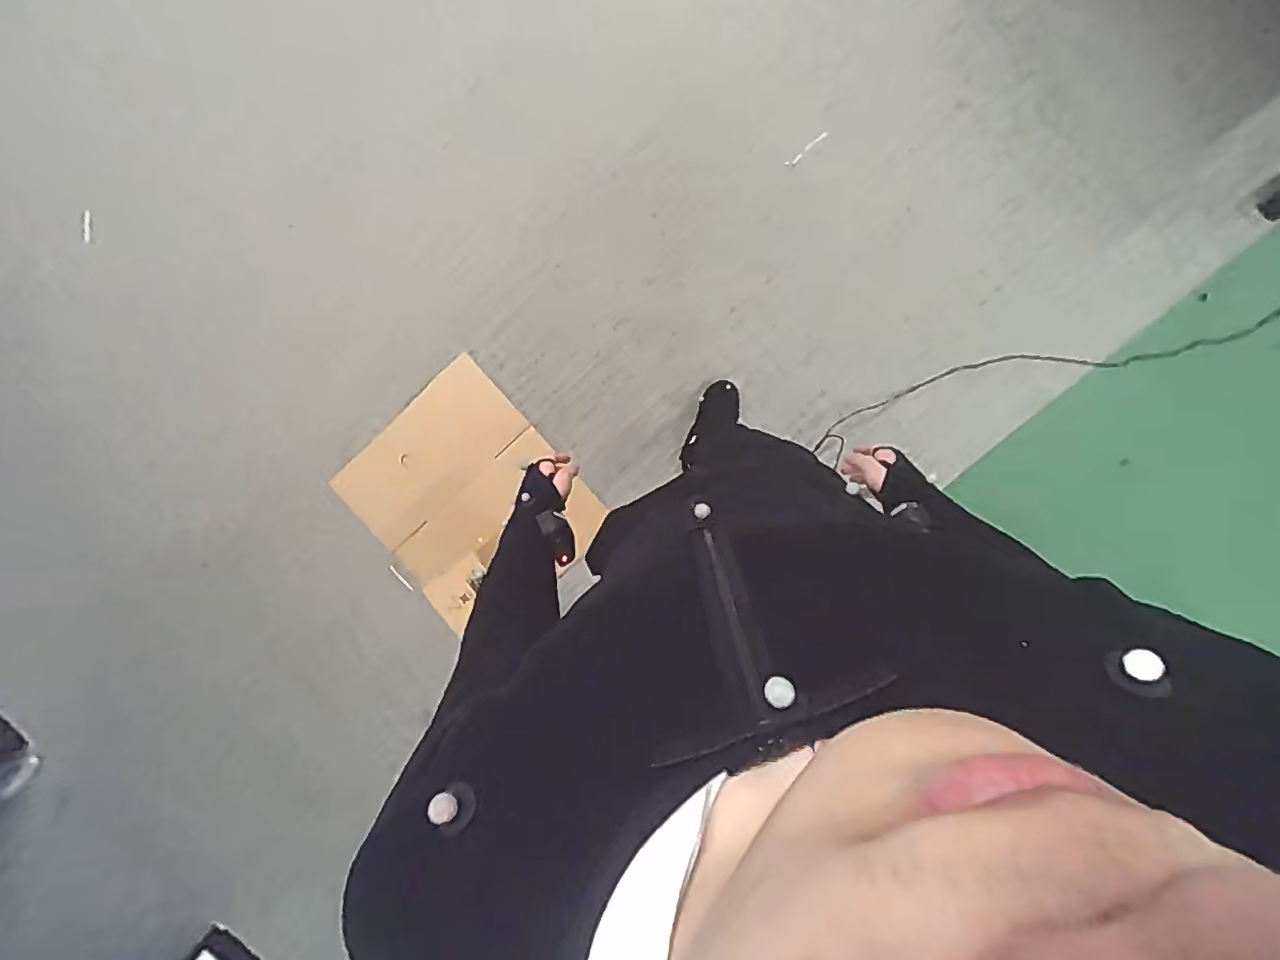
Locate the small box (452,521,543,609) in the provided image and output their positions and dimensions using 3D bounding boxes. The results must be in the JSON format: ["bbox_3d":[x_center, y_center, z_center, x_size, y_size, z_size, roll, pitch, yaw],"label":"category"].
[{"bbox_3d":[-0.415,0.246,1.607,0.168,0.176,0.179,-37,93,8],"label":"small box"}]
